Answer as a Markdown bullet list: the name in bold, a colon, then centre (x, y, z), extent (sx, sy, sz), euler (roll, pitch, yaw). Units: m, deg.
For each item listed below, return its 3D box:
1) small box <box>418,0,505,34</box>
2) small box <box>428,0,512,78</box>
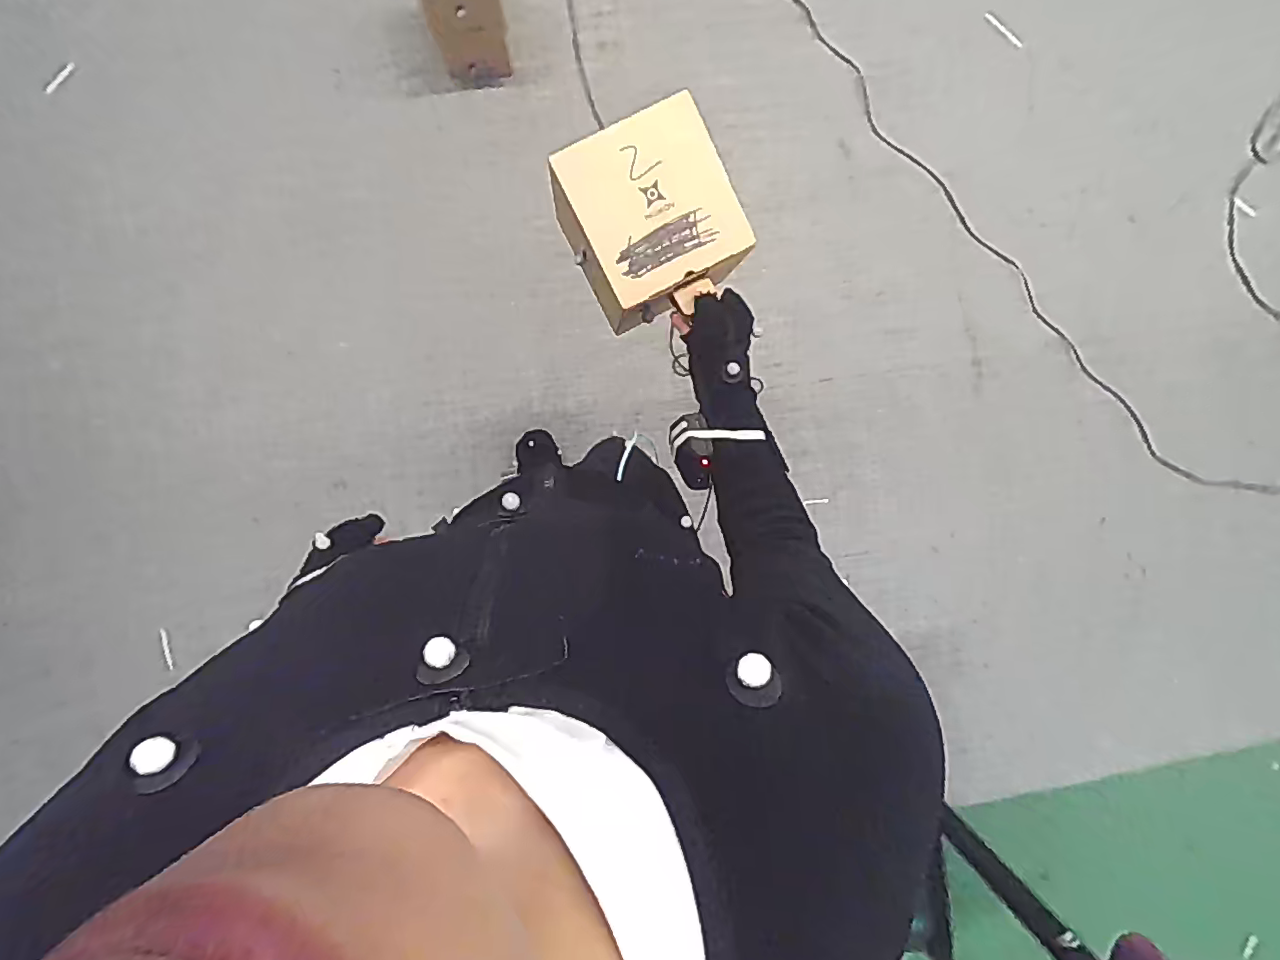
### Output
- **small box**: centre (-0.386, -1.072, 1.125), extent (0.168, 0.176, 0.179), euler (-8, 95, -4)
- **small box**: centre (-0.405, -1.105, 1.286), extent (0.168, 0.176, 0.179), euler (-5, 95, -4)
